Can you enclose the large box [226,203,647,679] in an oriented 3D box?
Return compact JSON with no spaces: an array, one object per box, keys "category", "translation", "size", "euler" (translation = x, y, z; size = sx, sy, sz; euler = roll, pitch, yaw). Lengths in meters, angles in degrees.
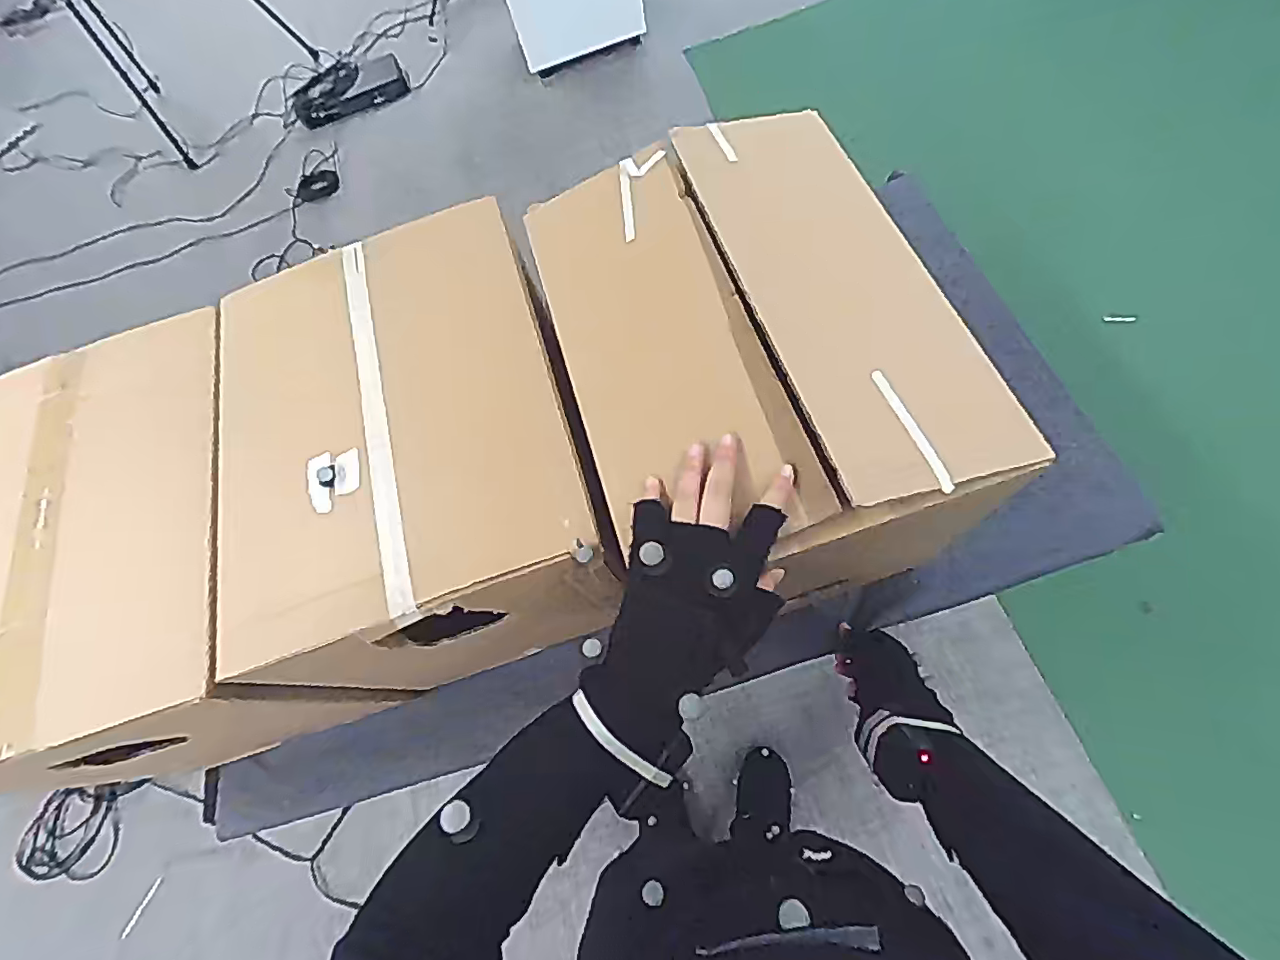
[{"category":"large box","translation":[-0.212,-0.020,0.631],"size":[0.320,0.320,0.408],"euler":[-20,67,2]}]
